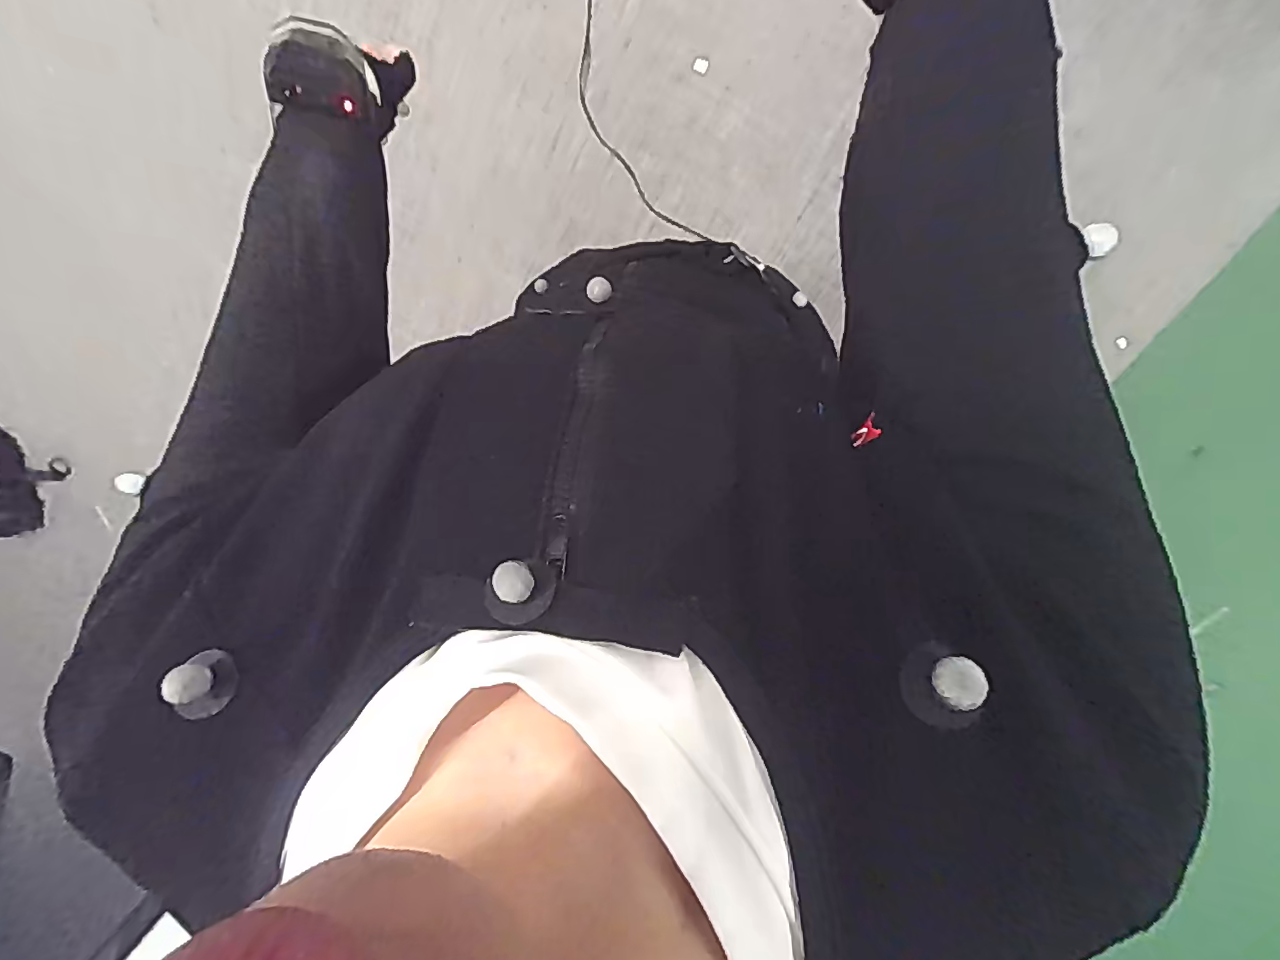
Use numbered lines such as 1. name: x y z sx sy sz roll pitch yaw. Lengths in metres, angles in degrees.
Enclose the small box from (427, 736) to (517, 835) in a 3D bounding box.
1. small box: -0.431 0.784 1.350 0.168 0.176 0.179 32 115 -2
